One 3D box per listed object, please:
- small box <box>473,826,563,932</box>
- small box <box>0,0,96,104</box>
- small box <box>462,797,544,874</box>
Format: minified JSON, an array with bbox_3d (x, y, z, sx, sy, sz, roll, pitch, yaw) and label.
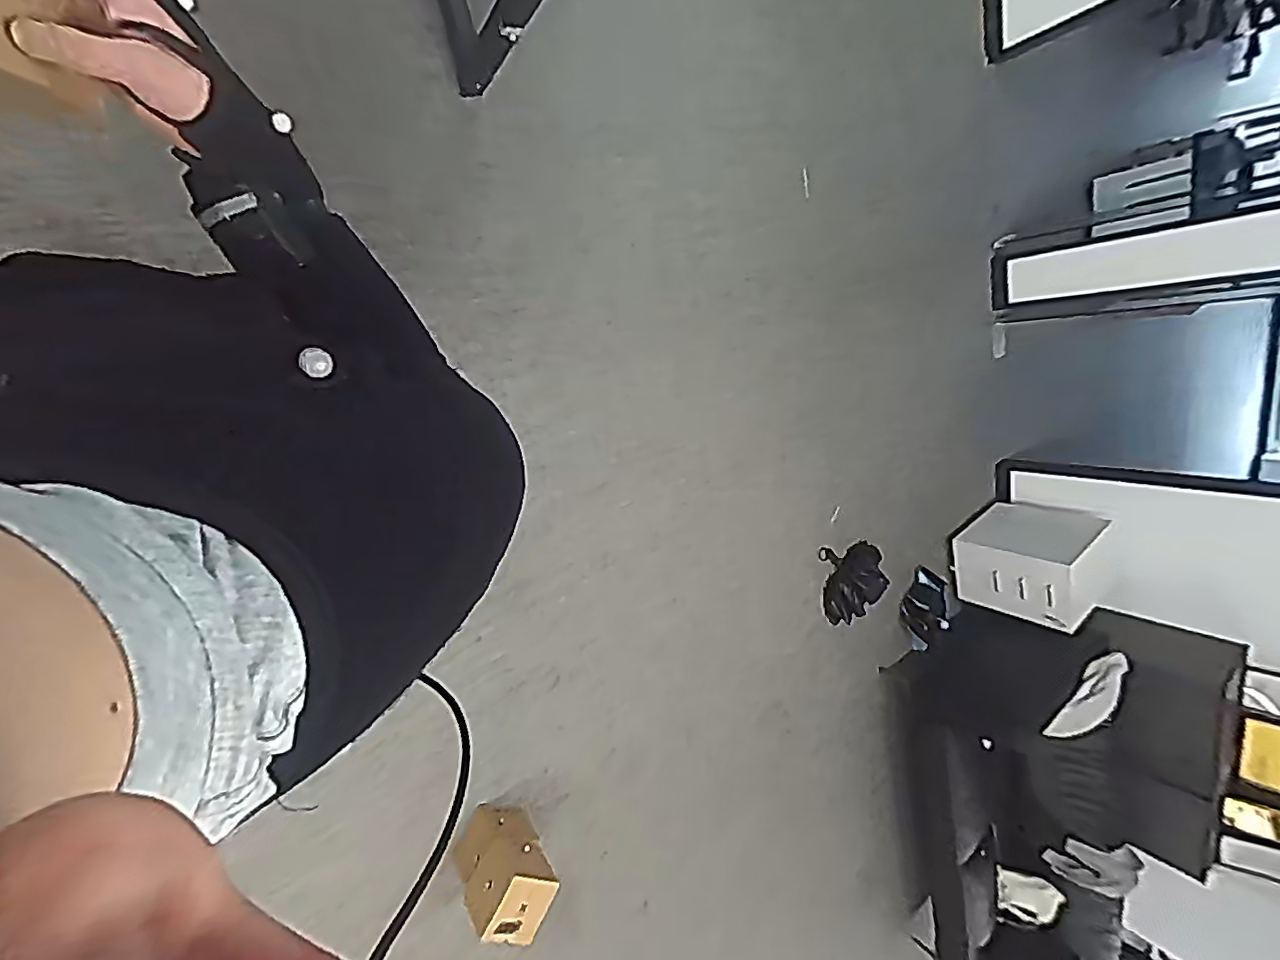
[{"bbox_3d":[-0.359,1.144,1.556,0.168,0.176,0.179,36,76,-32],"label":"small box"},{"bbox_3d":[-0.381,-0.264,0.210,0.168,0.176,0.179,-11,117,-18],"label":"small box"},{"bbox_3d":[-0.437,1.132,1.701,0.168,0.176,0.179,27,83,-33],"label":"small box"}]
